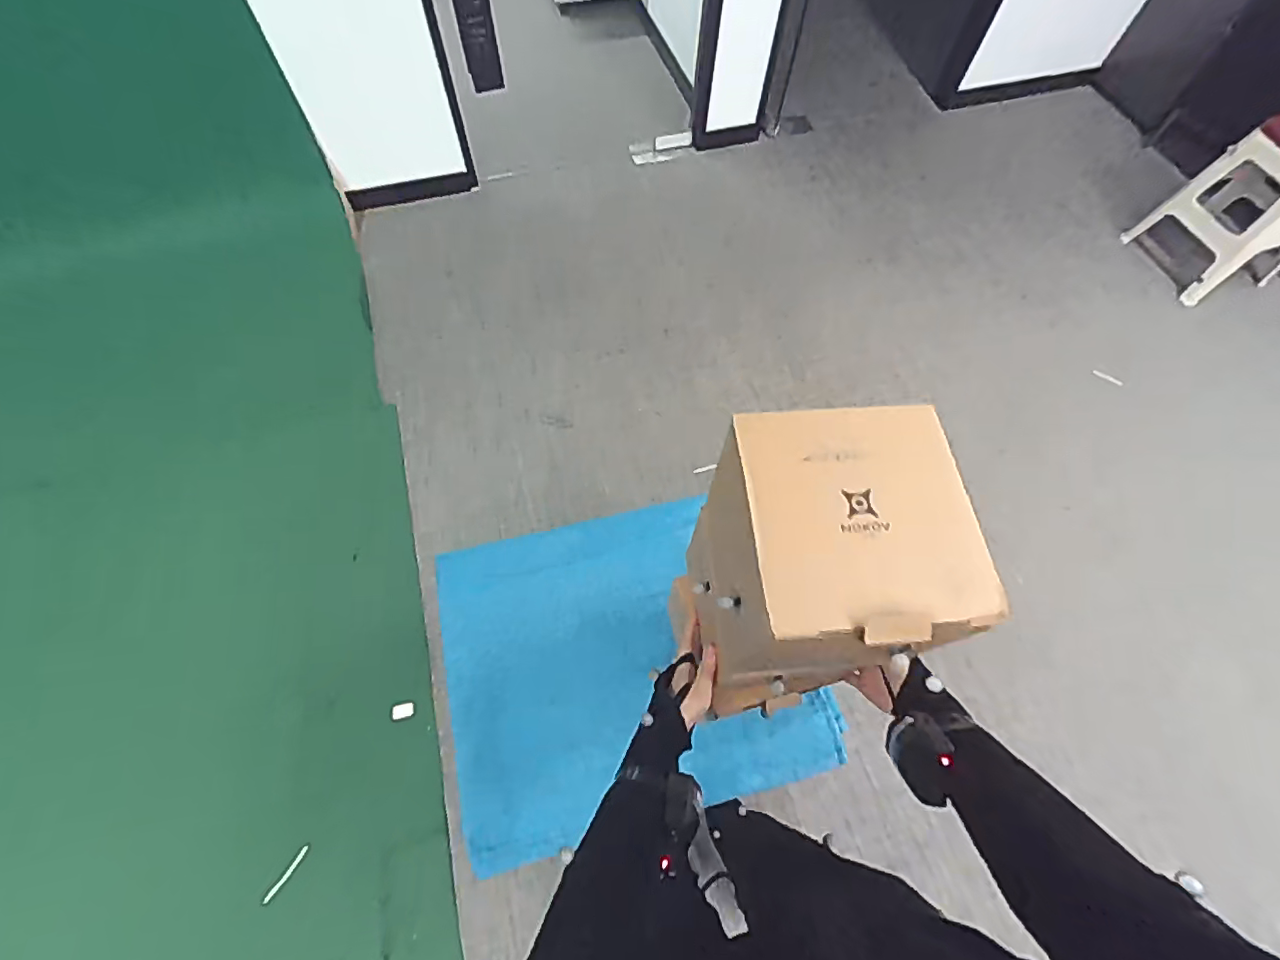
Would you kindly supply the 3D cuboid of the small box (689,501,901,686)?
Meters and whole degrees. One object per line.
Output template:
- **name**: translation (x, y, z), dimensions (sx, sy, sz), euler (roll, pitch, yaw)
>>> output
- **small box**: translation (0.153, 0.127, 0.600), dimensions (0.168, 0.176, 0.179), euler (-5, 63, -4)

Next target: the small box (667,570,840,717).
- **small box**: translation (0.140, 0.213, 0.739), dimensions (0.168, 0.176, 0.179), euler (-12, 65, -8)

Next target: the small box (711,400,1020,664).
- **small box**: translation (0.160, 0.054, 0.455), dimensions (0.168, 0.176, 0.179), euler (-3, 63, -4)
